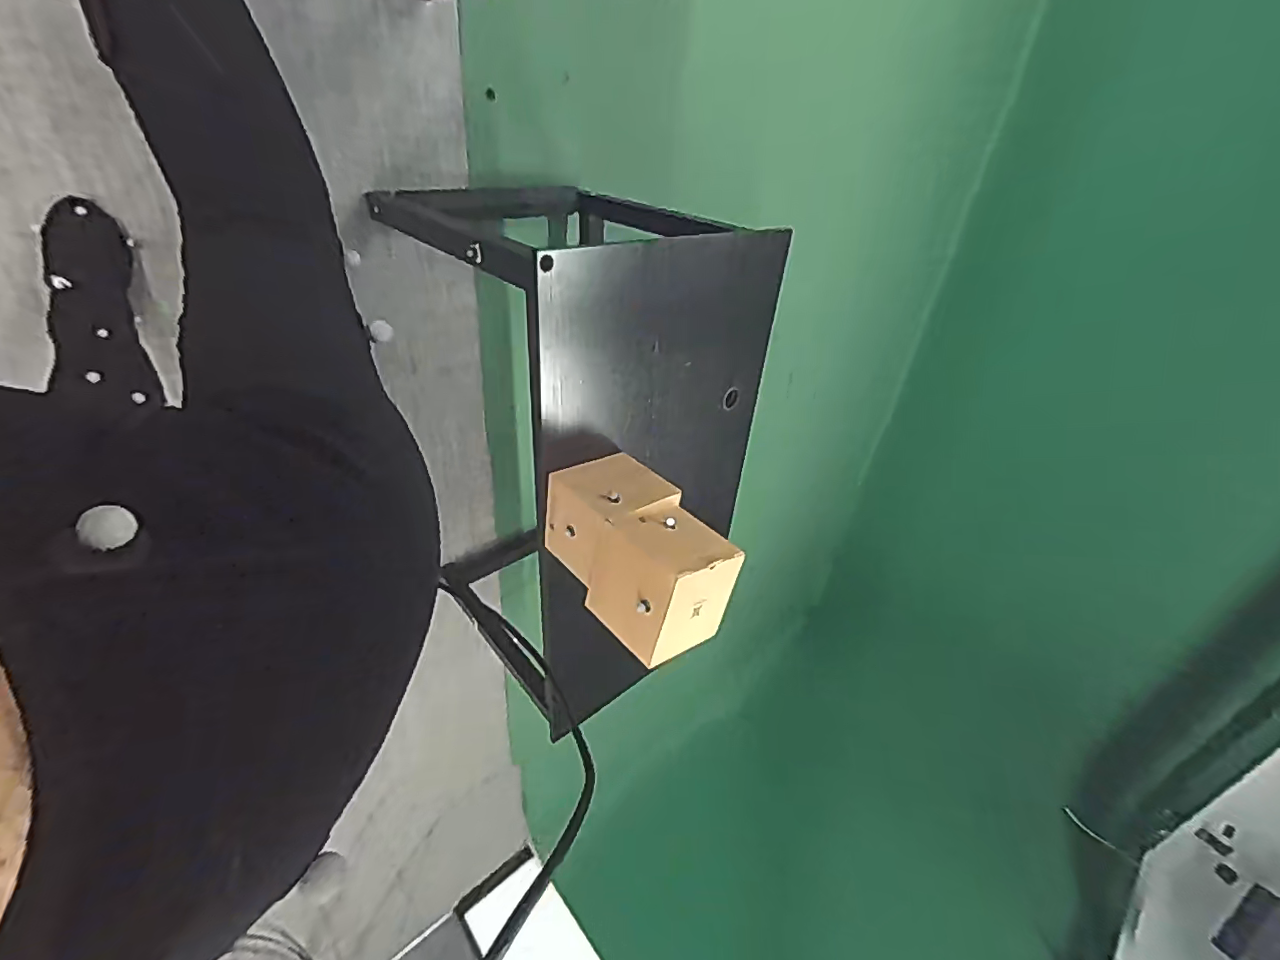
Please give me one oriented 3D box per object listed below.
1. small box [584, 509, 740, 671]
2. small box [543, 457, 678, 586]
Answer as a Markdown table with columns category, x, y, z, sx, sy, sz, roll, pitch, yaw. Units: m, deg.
| category | x | y | z | sx | sy | sz | roll | pitch | yaw |
| --- | --- | --- | --- | --- | --- | --- | --- | --- | --- |
| small box | 0.028 | 0.171 | 0.888 | 0.168 | 0.176 | 0.179 | -10 | 124 | -43 |
| small box | -0.061 | 0.078 | 0.991 | 0.179 | 0.176 | 0.168 | -19 | 131 | -39 |
